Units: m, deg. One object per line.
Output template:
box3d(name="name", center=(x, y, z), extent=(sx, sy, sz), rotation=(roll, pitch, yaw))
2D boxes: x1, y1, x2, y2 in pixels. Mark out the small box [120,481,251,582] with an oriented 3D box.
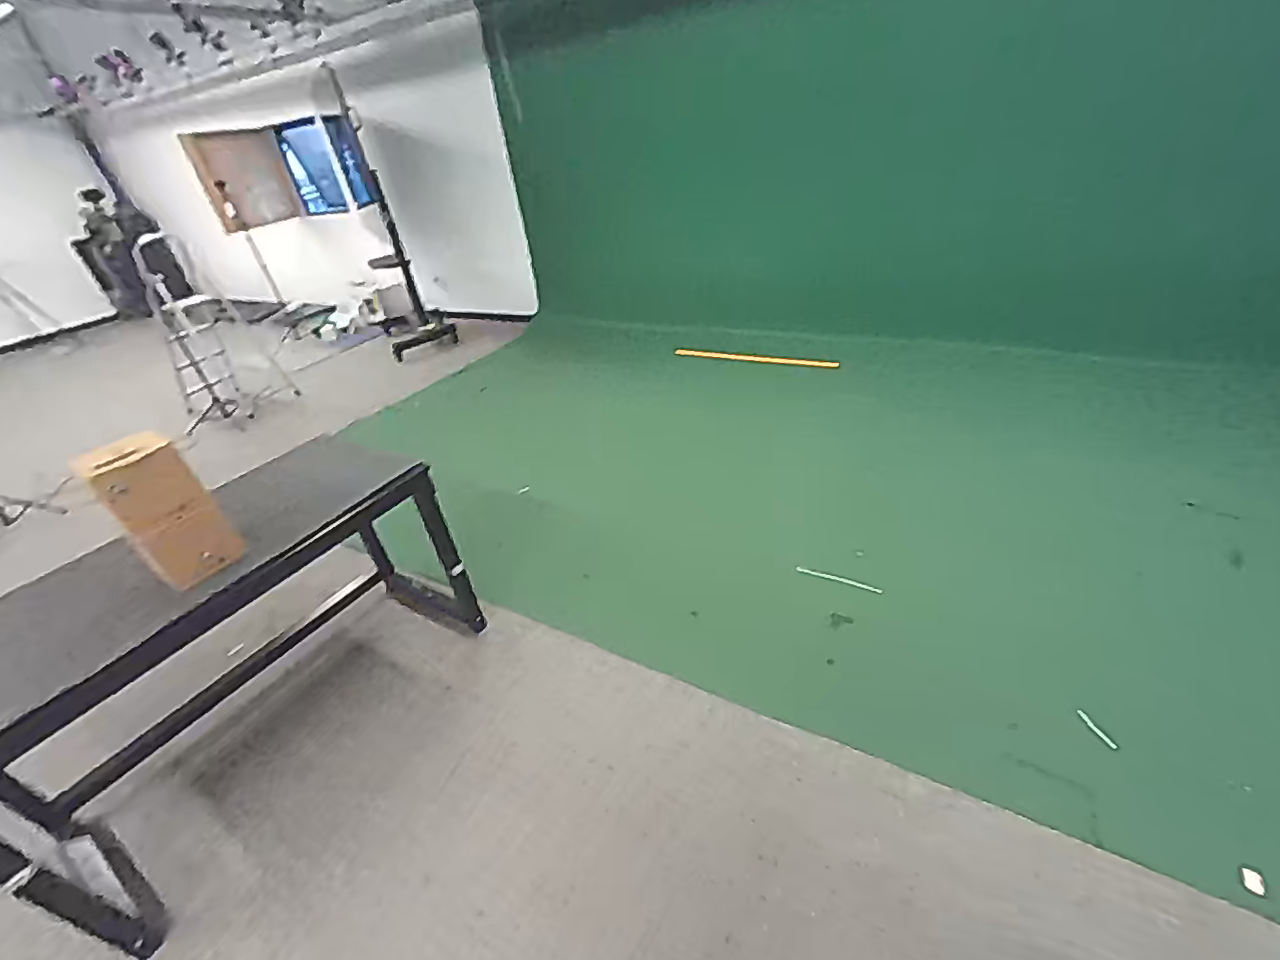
box3d(name="small box", center=(-1.137, 0.129, 1.361), extent=(0.179, 0.176, 0.168), rotation=(15, 41, 31))
